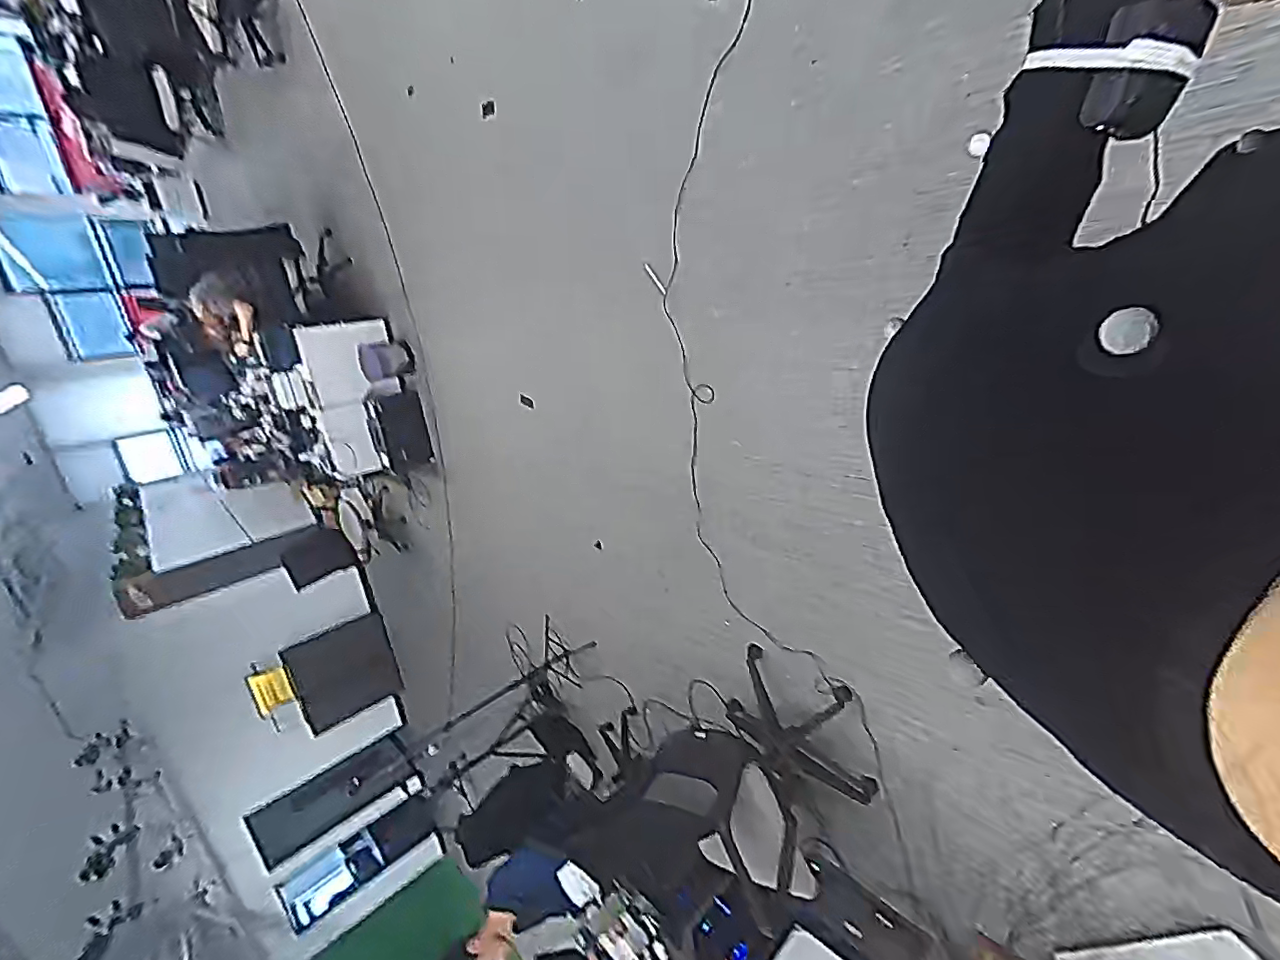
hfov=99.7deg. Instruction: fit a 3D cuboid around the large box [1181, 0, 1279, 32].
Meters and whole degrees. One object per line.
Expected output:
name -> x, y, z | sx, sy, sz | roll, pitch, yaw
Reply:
large box -> 0.540, -0.433, 0.215 | 0.408, 0.320, 0.320 | 20, 130, 38
